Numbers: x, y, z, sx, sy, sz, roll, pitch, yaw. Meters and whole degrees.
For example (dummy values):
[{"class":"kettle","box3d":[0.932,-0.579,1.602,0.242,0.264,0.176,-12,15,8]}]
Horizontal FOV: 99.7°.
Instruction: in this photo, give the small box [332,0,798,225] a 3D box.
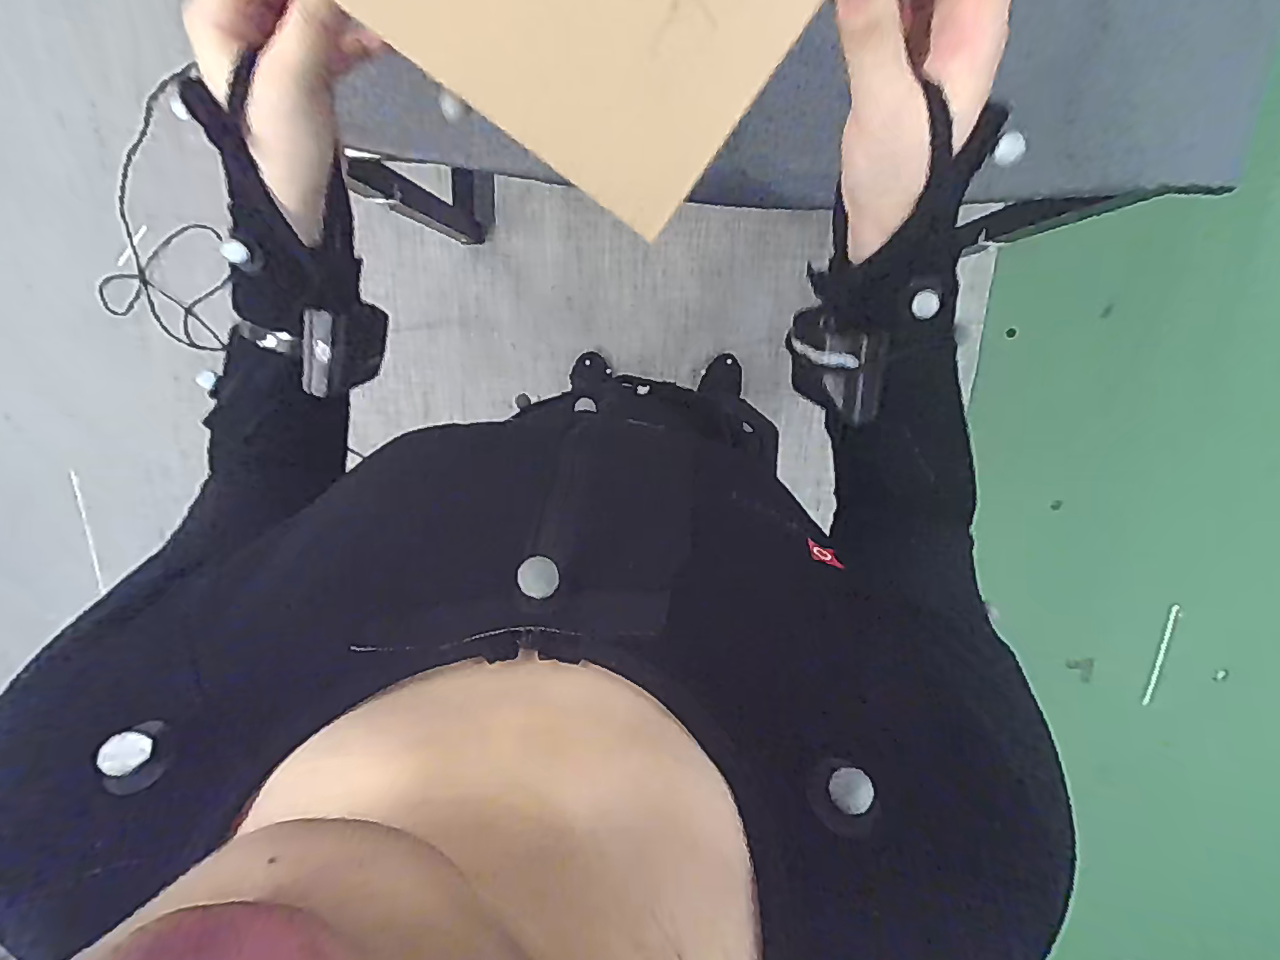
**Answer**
[{"class":"small box","box3d":[-0.035,-0.247,0.220,0.179,0.176,0.168,23,122,-32]}]
